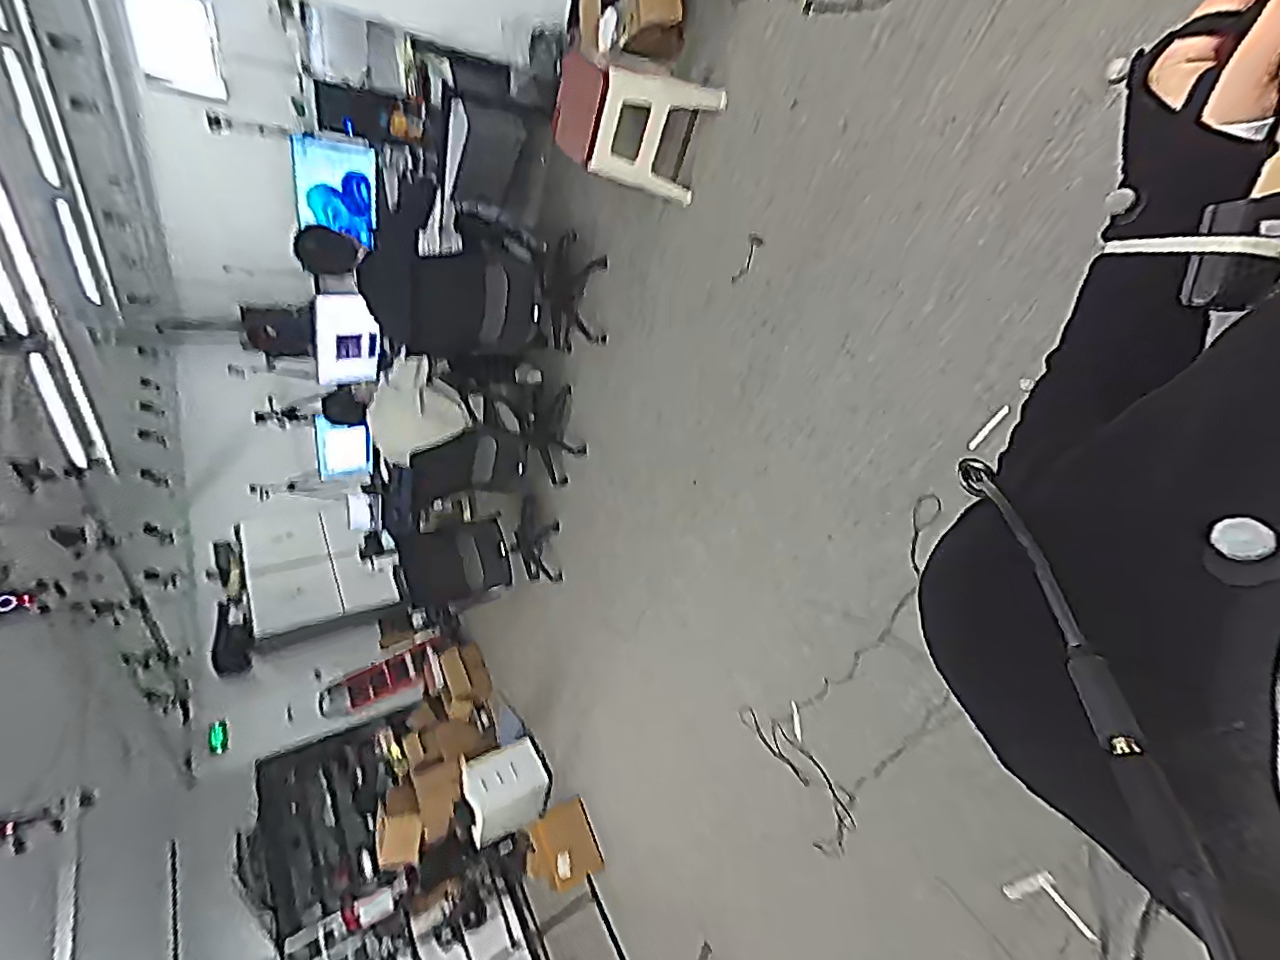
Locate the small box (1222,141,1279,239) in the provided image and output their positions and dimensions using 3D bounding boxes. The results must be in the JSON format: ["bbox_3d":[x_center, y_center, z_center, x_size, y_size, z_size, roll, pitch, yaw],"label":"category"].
[{"bbox_3d":[0.996,-0.426,0.757,0.168,0.176,0.179,46,132,37],"label":"small box"}]

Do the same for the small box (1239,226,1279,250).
[{"bbox_3d":[1.127,-0.445,0.852,0.168,0.176,0.179,50,137,35],"label":"small box"}]
